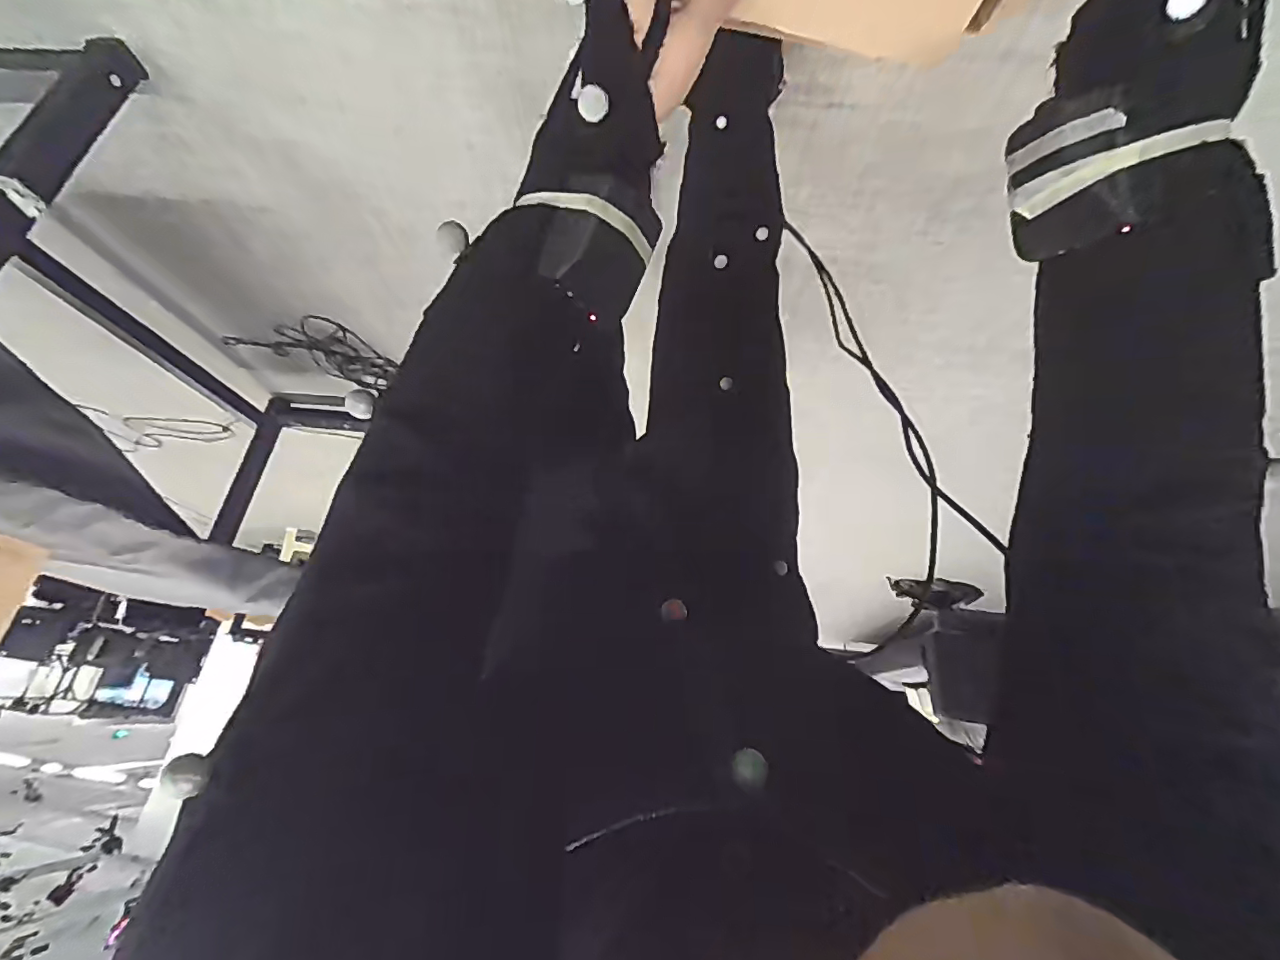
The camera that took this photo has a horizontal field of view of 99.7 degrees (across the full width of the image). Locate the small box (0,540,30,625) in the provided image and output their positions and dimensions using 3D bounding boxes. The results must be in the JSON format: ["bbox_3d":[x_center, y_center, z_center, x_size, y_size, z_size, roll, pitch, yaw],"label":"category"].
[{"bbox_3d":[-1.050,0.148,0.770,0.179,0.176,0.168,14,155,-11],"label":"small box"}]
